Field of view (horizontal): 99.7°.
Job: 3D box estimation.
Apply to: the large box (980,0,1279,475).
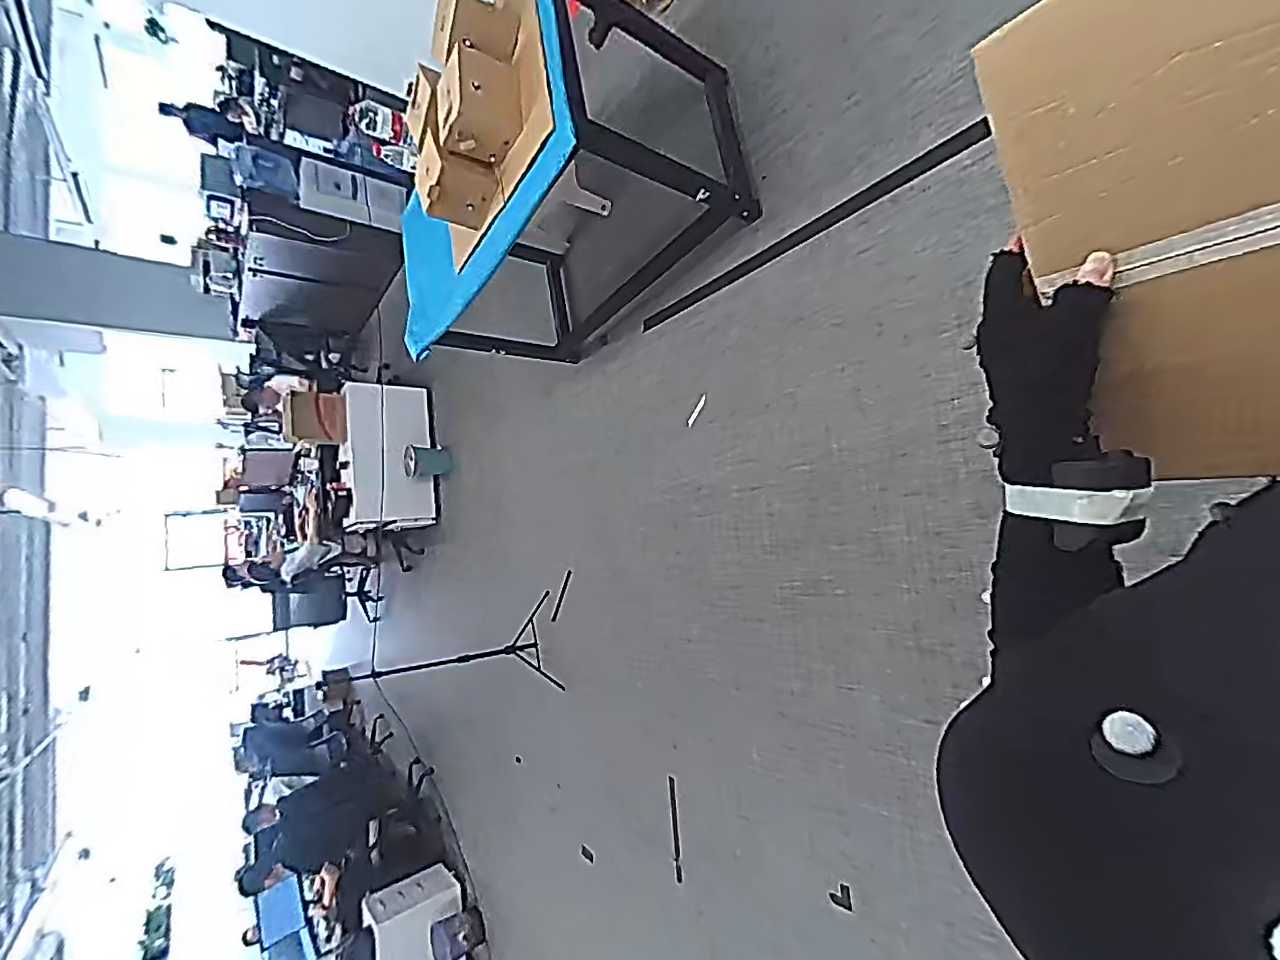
[{"bbox_3d":[0.495,-0.225,0.295,0.408,0.320,0.320,-6,118,55],"label":"large box"}]
